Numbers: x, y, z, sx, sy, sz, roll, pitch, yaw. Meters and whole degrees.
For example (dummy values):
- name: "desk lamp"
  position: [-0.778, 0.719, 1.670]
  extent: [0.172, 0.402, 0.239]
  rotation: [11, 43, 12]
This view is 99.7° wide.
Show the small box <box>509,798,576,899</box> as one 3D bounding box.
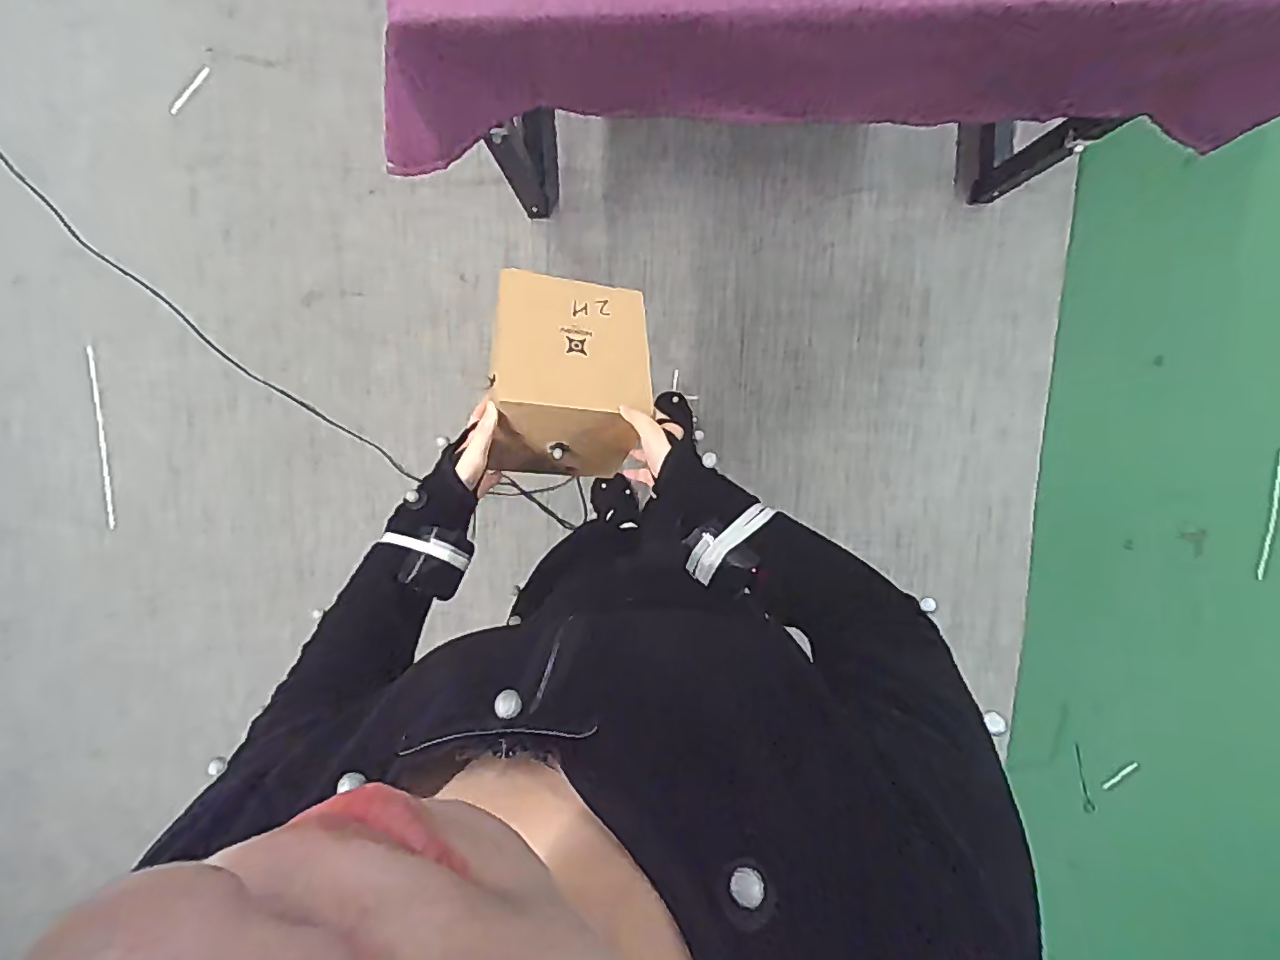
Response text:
- name: "small box"
  position: [-0.272, 1.030, 1.518]
  extent: [0.168, 0.176, 0.179]
  rotation: [4, 97, 0]

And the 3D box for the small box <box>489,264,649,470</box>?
- name: "small box"
  position: [-0.093, -0.125, 0.664]
  extent: [0.168, 0.176, 0.179]
  rotation: [5, 65, -17]
